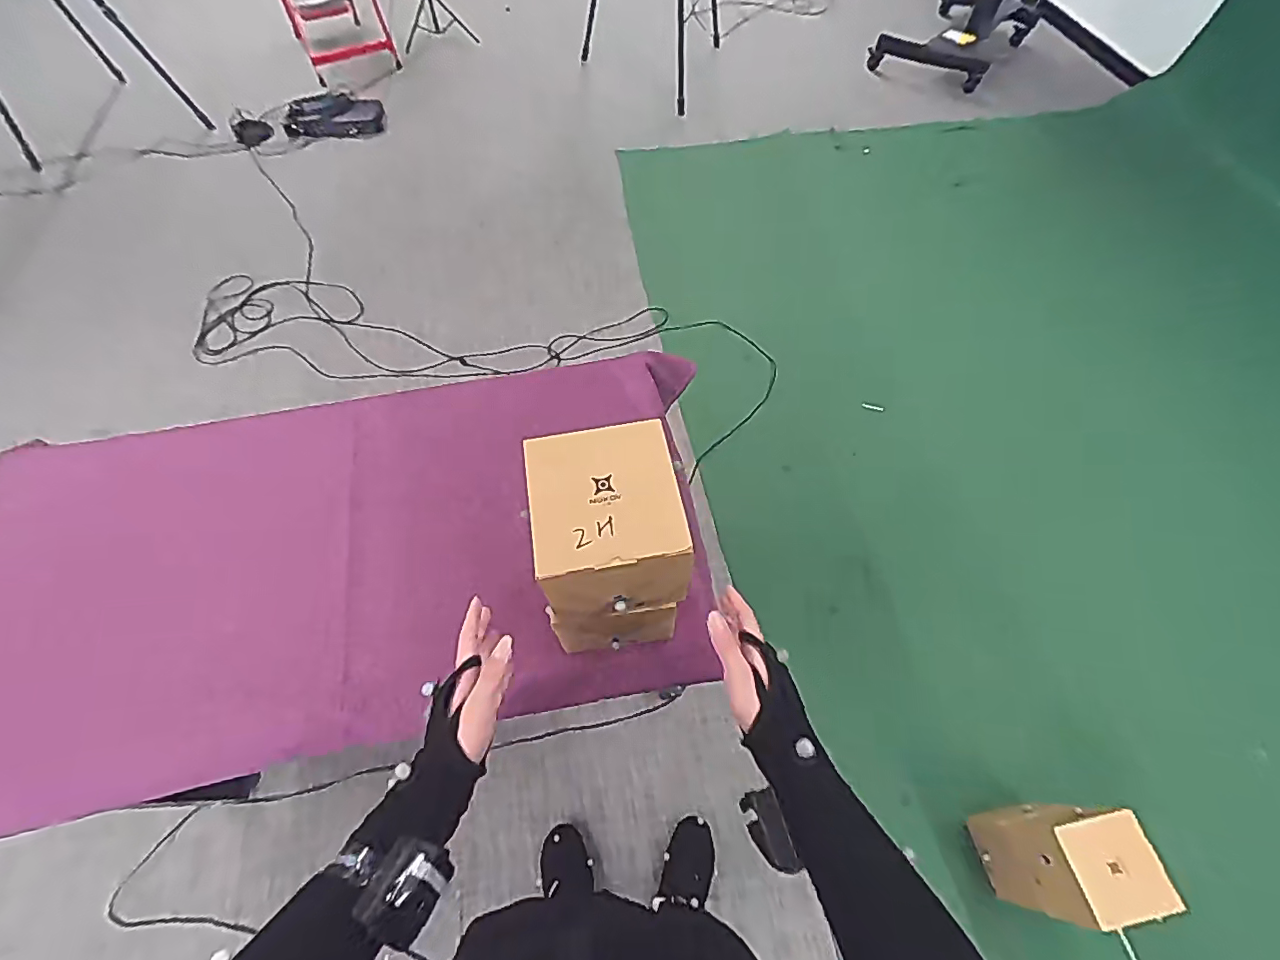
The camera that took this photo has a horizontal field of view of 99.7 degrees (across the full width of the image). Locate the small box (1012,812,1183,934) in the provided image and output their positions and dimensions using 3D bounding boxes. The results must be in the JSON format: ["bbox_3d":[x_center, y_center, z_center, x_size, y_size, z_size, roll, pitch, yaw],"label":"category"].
[{"bbox_3d":[0.902,0.784,1.095,0.179,0.176,0.168,-9,60,-7],"label":"small box"}]

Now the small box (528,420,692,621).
[{"bbox_3d":[-0.038,0.053,0.662,0.168,0.176,0.179,-9,59,-4],"label":"small box"}]

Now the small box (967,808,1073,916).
[{"bbox_3d":[0.900,0.861,1.236,0.179,0.176,0.168,-10,60,-5],"label":"small box"}]
